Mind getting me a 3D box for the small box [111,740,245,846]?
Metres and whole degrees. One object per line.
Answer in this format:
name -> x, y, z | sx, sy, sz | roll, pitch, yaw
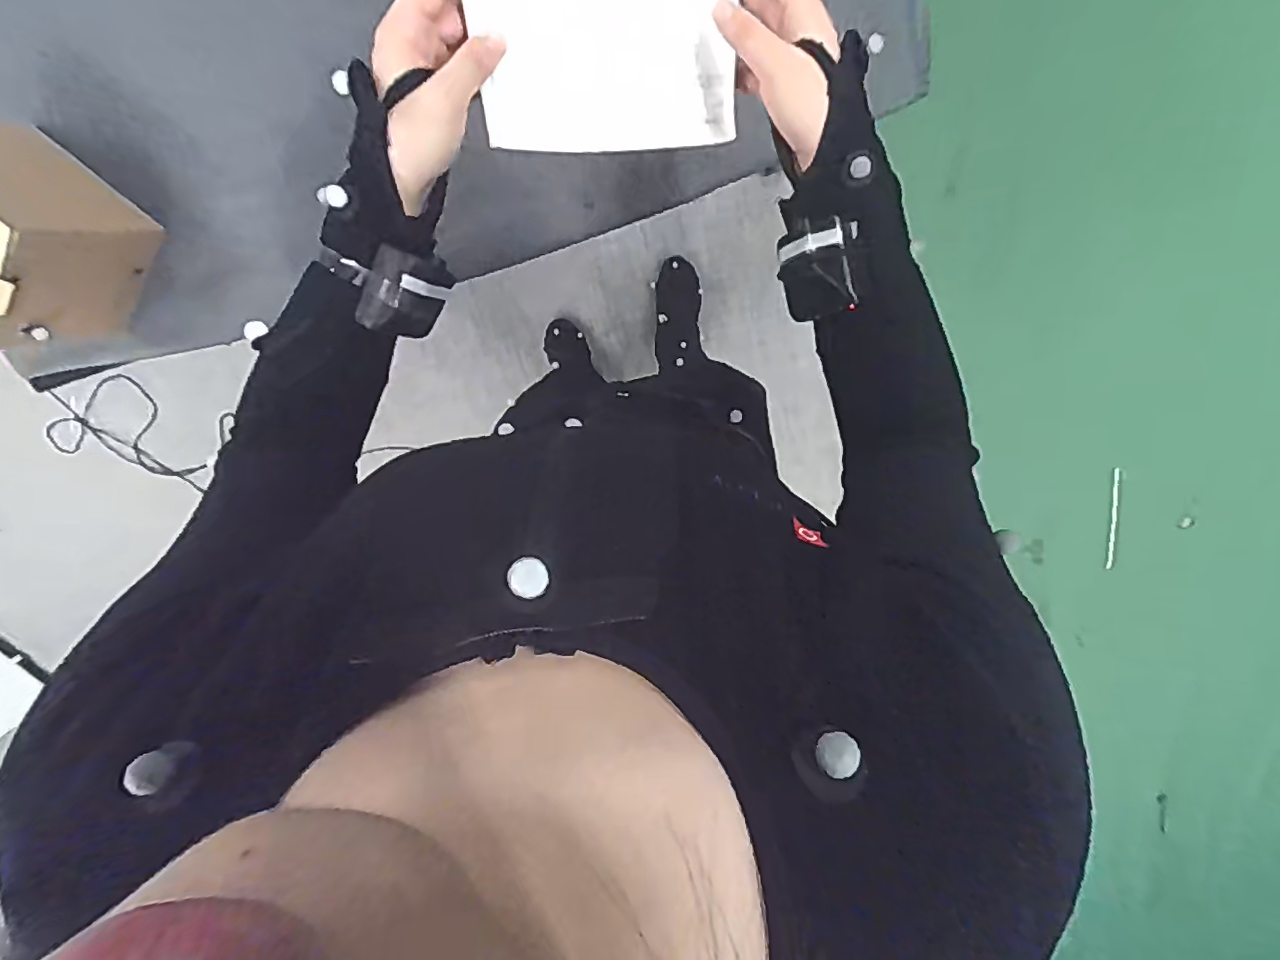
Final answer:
small box -> -1.235, 0.833, 1.458 | 0.168, 0.176, 0.179 | -30, 109, 16
